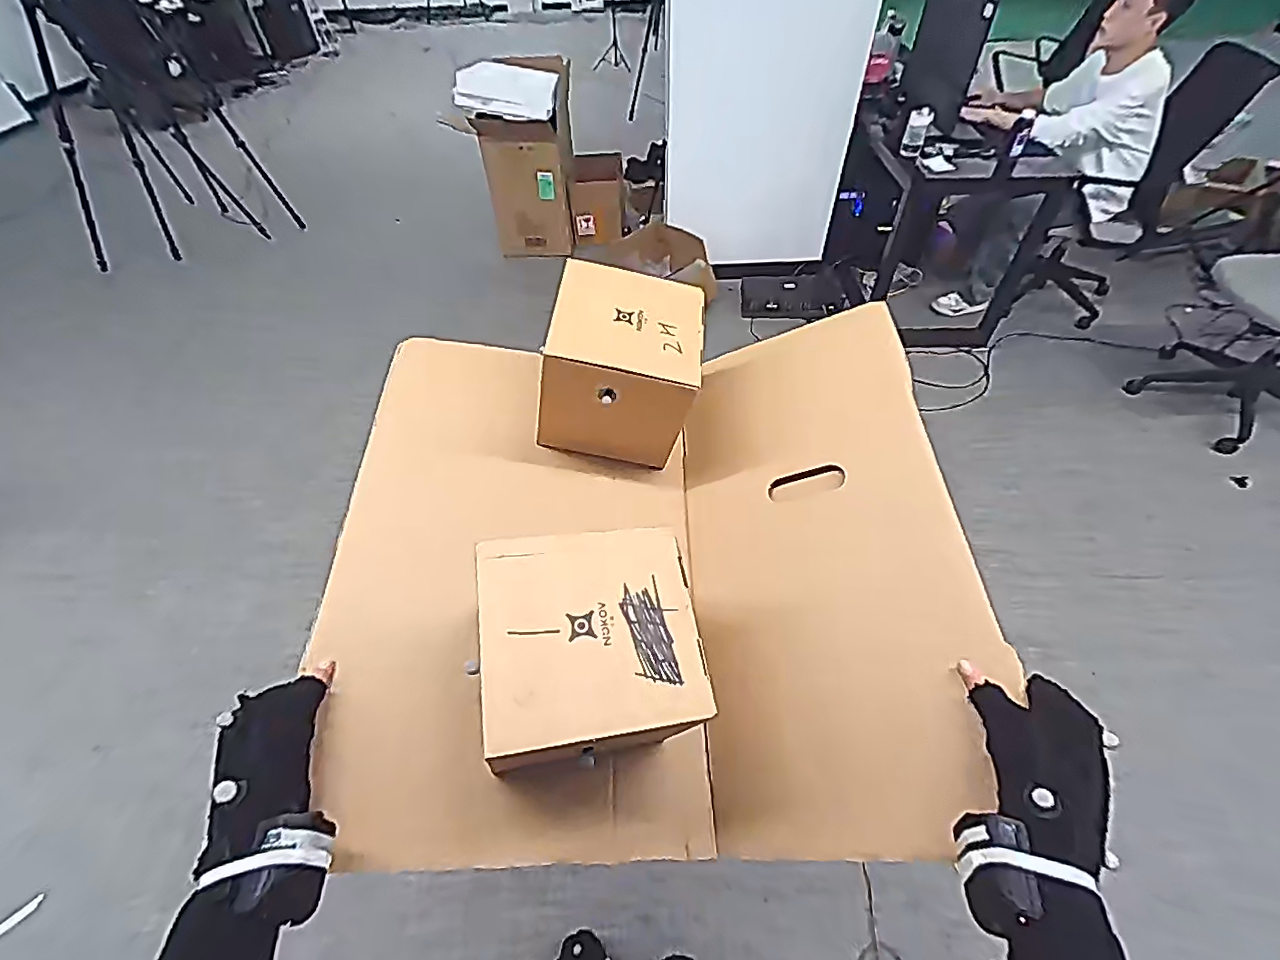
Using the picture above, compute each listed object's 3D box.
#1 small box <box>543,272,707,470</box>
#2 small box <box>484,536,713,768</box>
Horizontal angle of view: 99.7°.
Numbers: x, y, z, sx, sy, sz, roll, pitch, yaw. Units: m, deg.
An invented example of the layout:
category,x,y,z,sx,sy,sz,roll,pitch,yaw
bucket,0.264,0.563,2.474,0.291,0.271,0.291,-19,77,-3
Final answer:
category,x,y,z,sx,sy,sz,roll,pitch,yaw
small box,-0.024,-0.132,0.699,0.179,0.176,0.168,12,57,-7
small box,-0.054,0.164,0.509,0.179,0.176,0.168,-3,60,-15
